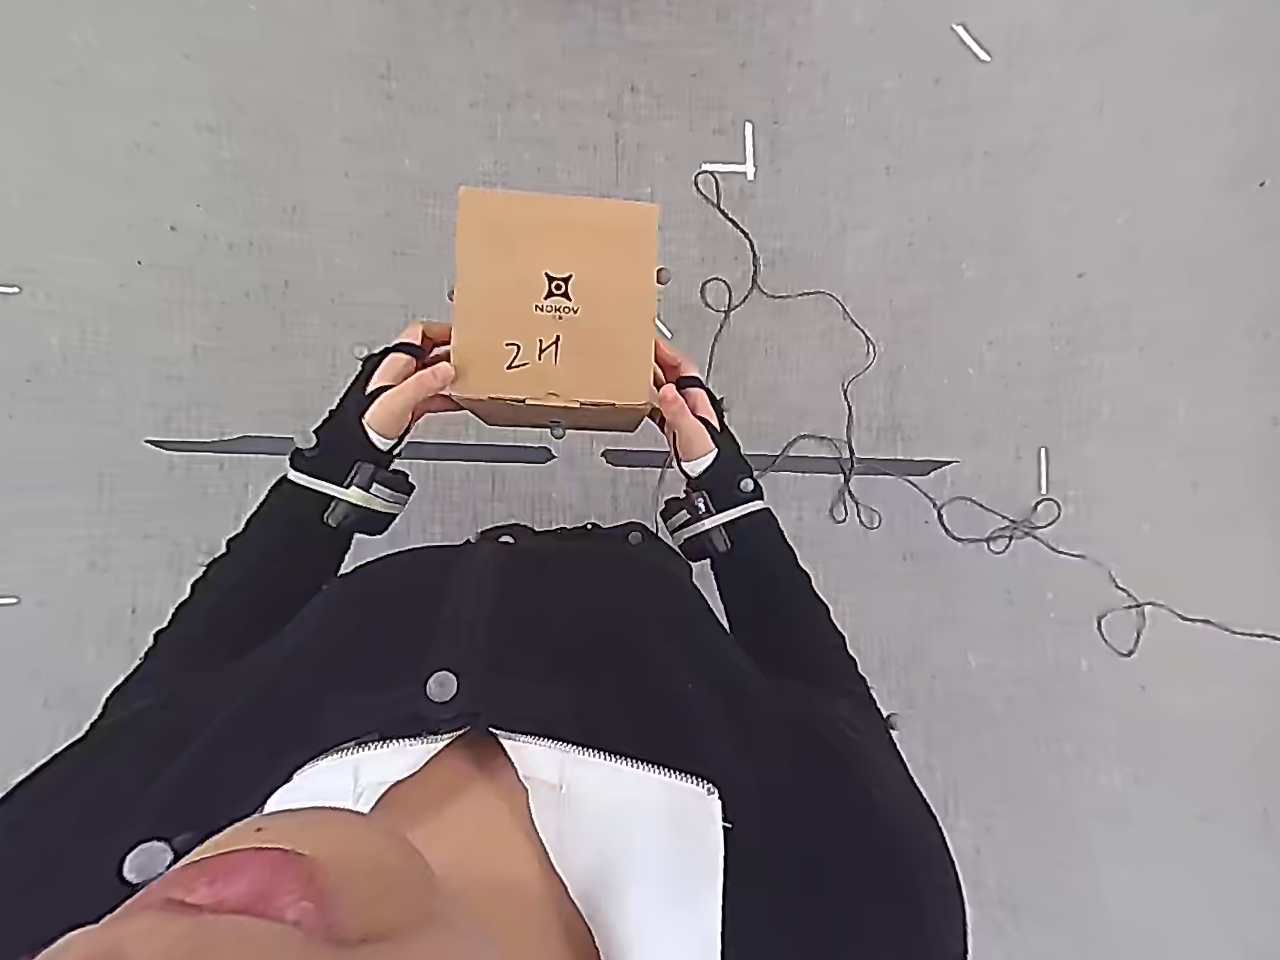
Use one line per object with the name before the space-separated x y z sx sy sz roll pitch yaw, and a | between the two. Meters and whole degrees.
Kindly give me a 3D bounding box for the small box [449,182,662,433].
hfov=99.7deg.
small box | -0.075 -0.148 0.520 0.168 0.176 0.179 3 87 -5
